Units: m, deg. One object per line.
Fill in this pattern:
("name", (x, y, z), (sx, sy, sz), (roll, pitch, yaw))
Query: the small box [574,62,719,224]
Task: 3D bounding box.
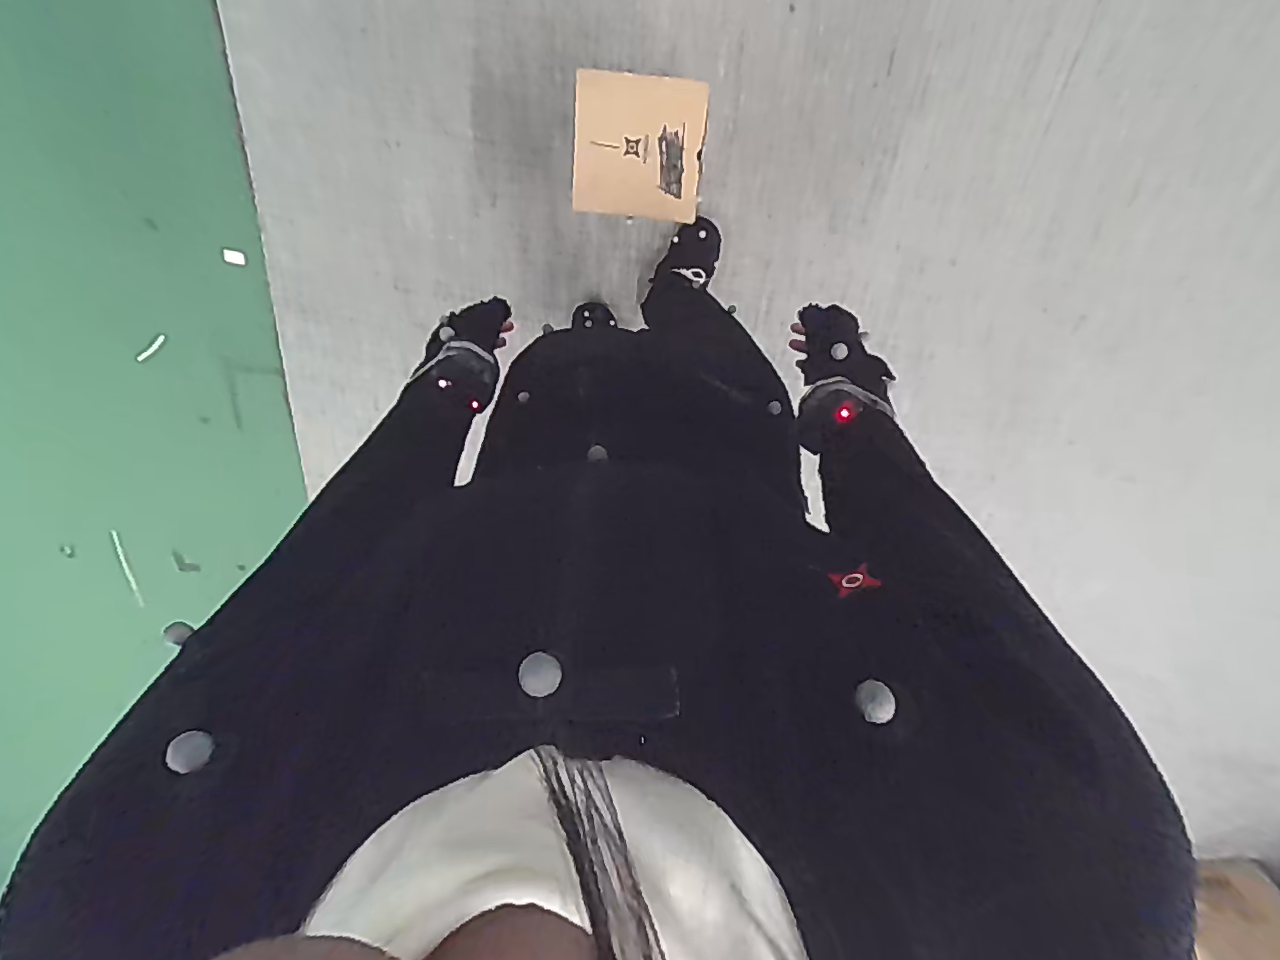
("small box", (0.009, -0.483, 0.796), (0.179, 0.176, 0.168), (9, 116, -1))
